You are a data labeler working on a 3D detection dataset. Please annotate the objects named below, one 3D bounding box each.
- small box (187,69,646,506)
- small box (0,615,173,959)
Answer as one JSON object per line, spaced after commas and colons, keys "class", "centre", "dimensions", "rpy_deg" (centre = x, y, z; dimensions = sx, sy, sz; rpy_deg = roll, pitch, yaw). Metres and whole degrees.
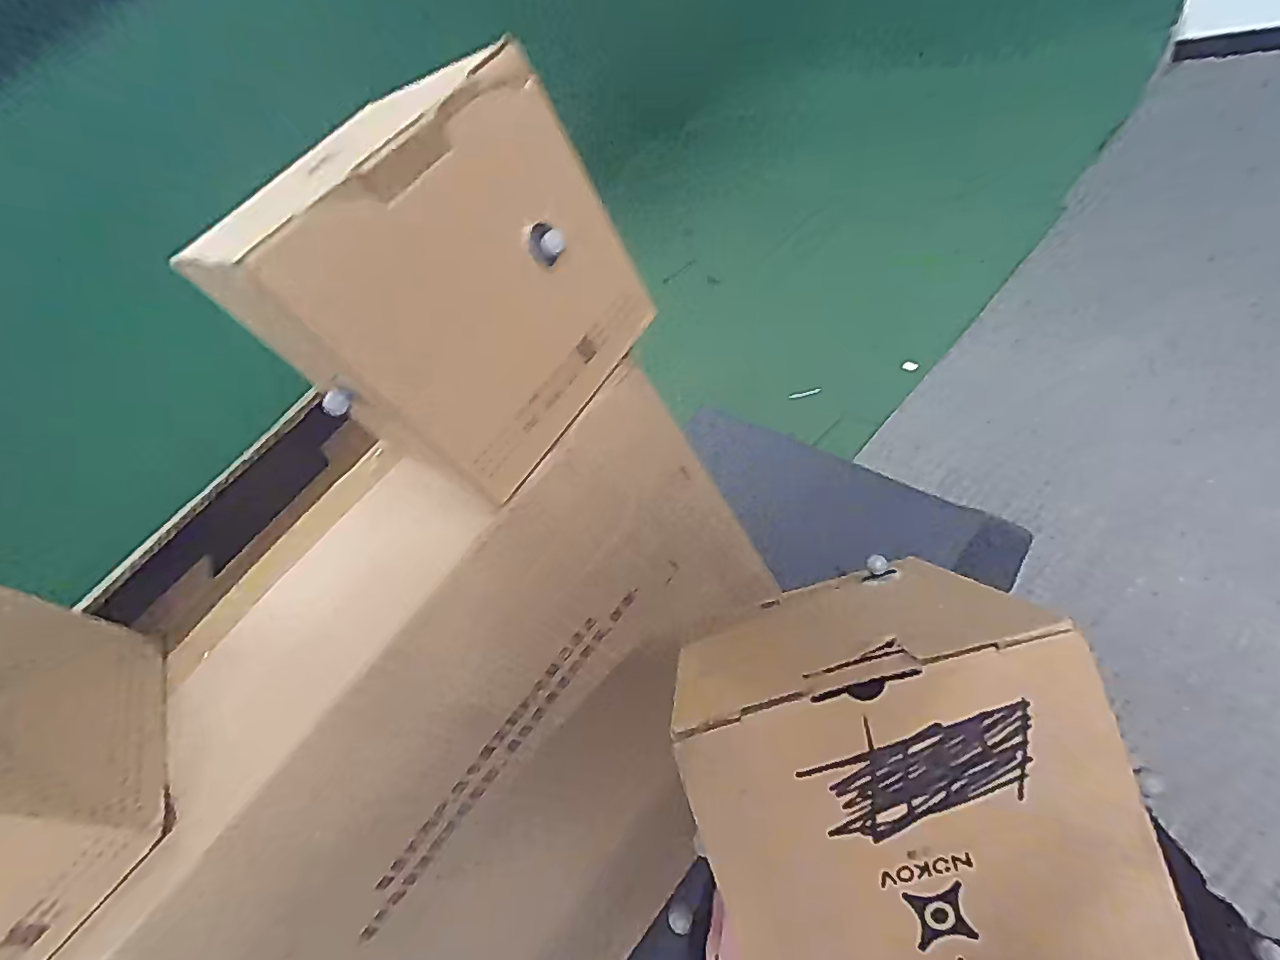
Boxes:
{"class": "small box", "centre": [-0.126, -0.106, 0.342], "dimensions": [0.179, 0.176, 0.168], "rpy_deg": [18, 64, 42]}
{"class": "small box", "centre": [-0.380, 0.174, 0.270], "dimensions": [0.168, 0.176, 0.179], "rpy_deg": [-49, 46, -11]}
